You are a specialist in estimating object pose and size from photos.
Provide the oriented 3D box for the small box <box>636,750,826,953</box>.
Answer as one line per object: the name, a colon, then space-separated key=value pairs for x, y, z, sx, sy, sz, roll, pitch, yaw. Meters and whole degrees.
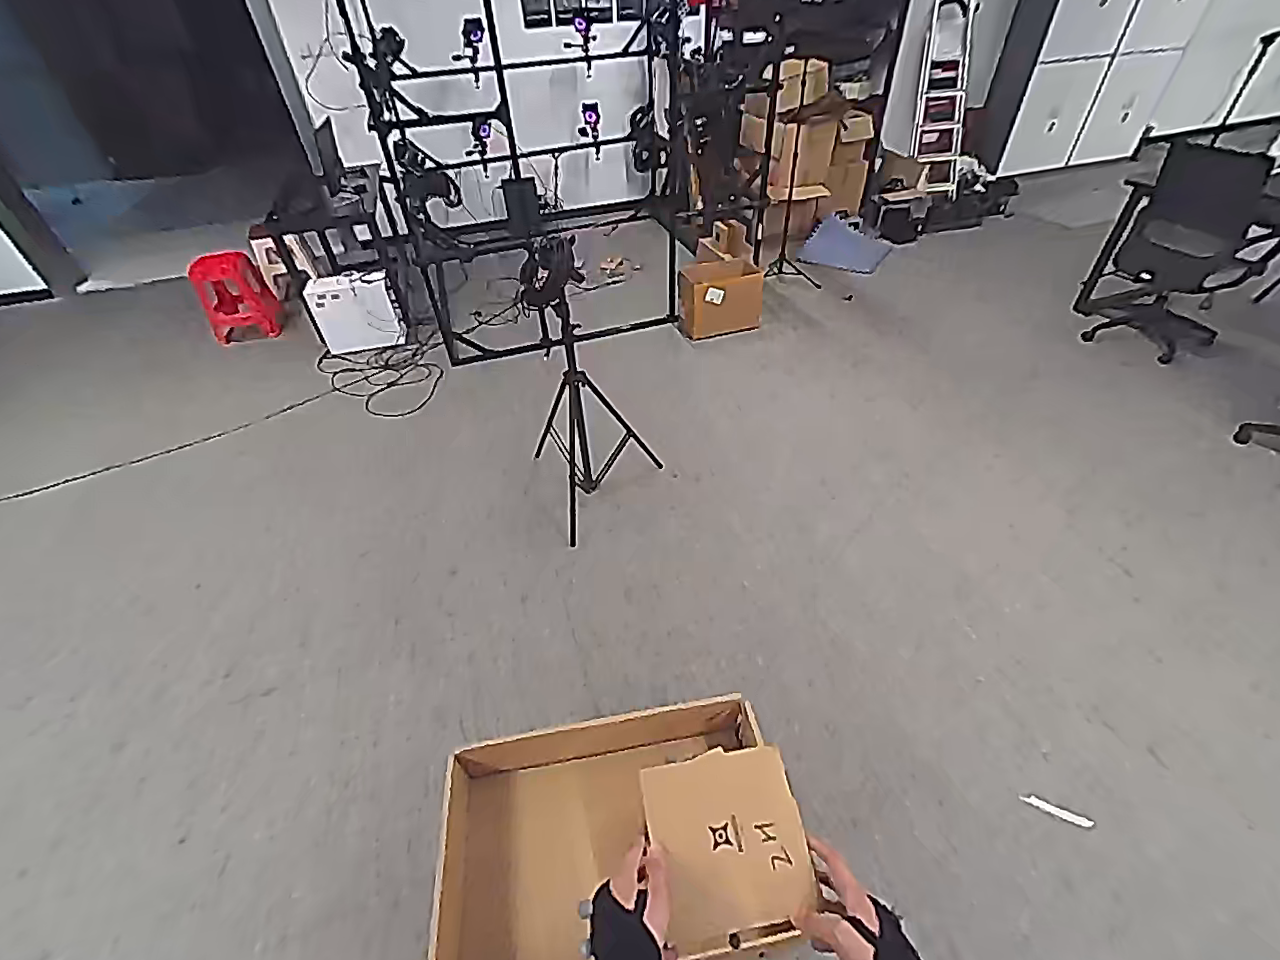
small box: x=0.092 y=0.446 z=0.652 sx=0.179 sy=0.176 sz=0.168 roll=-6 pitch=52 yaw=-8
